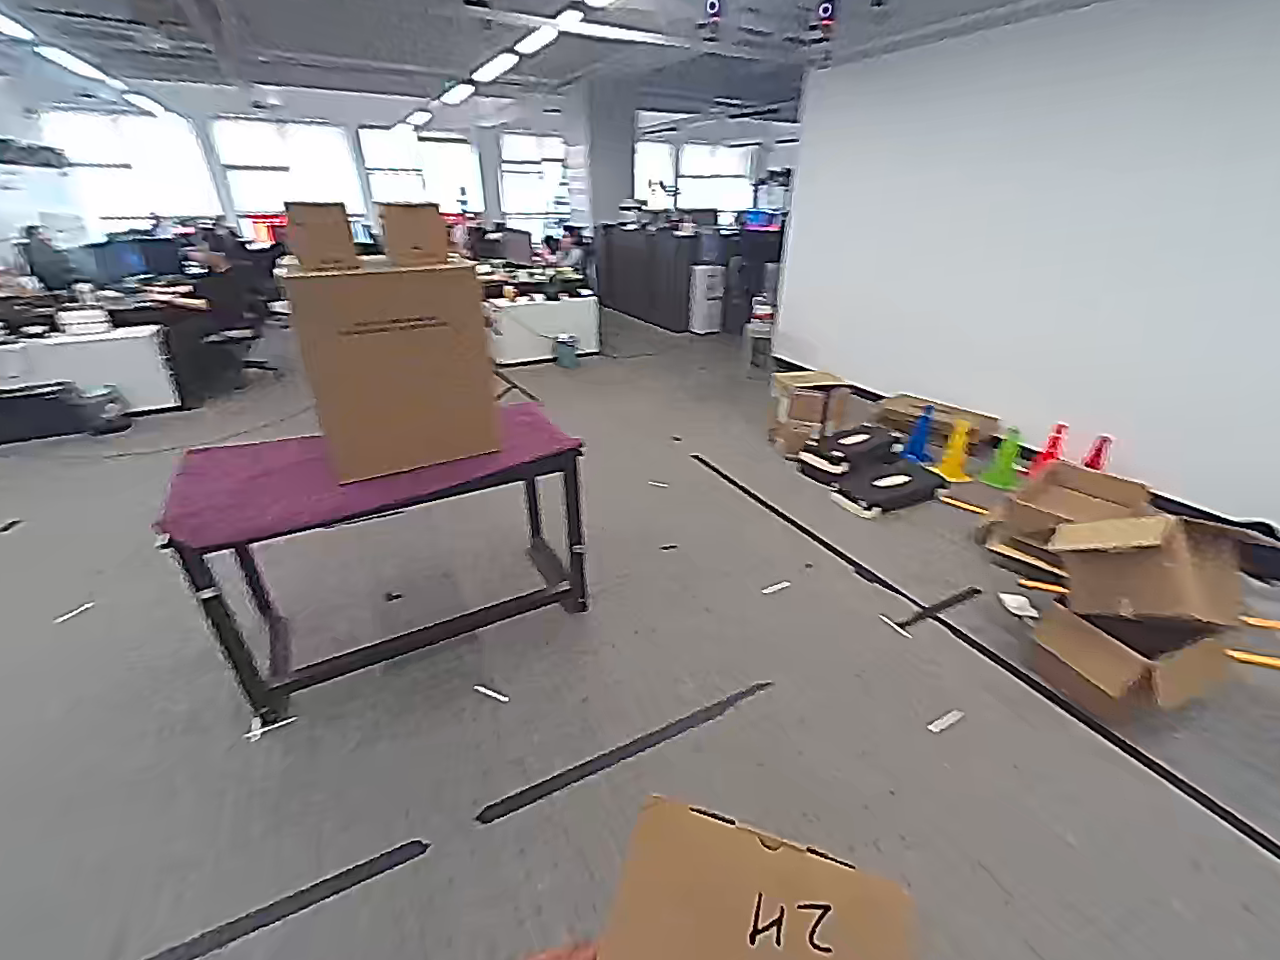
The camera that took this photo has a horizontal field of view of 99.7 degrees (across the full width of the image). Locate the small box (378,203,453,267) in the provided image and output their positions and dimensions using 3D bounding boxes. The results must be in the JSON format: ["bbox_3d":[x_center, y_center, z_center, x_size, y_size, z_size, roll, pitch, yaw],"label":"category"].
[{"bbox_3d":[-0.691,-0.755,1.662,0.168,0.176,0.179,-17,34,-28],"label":"small box"}]
